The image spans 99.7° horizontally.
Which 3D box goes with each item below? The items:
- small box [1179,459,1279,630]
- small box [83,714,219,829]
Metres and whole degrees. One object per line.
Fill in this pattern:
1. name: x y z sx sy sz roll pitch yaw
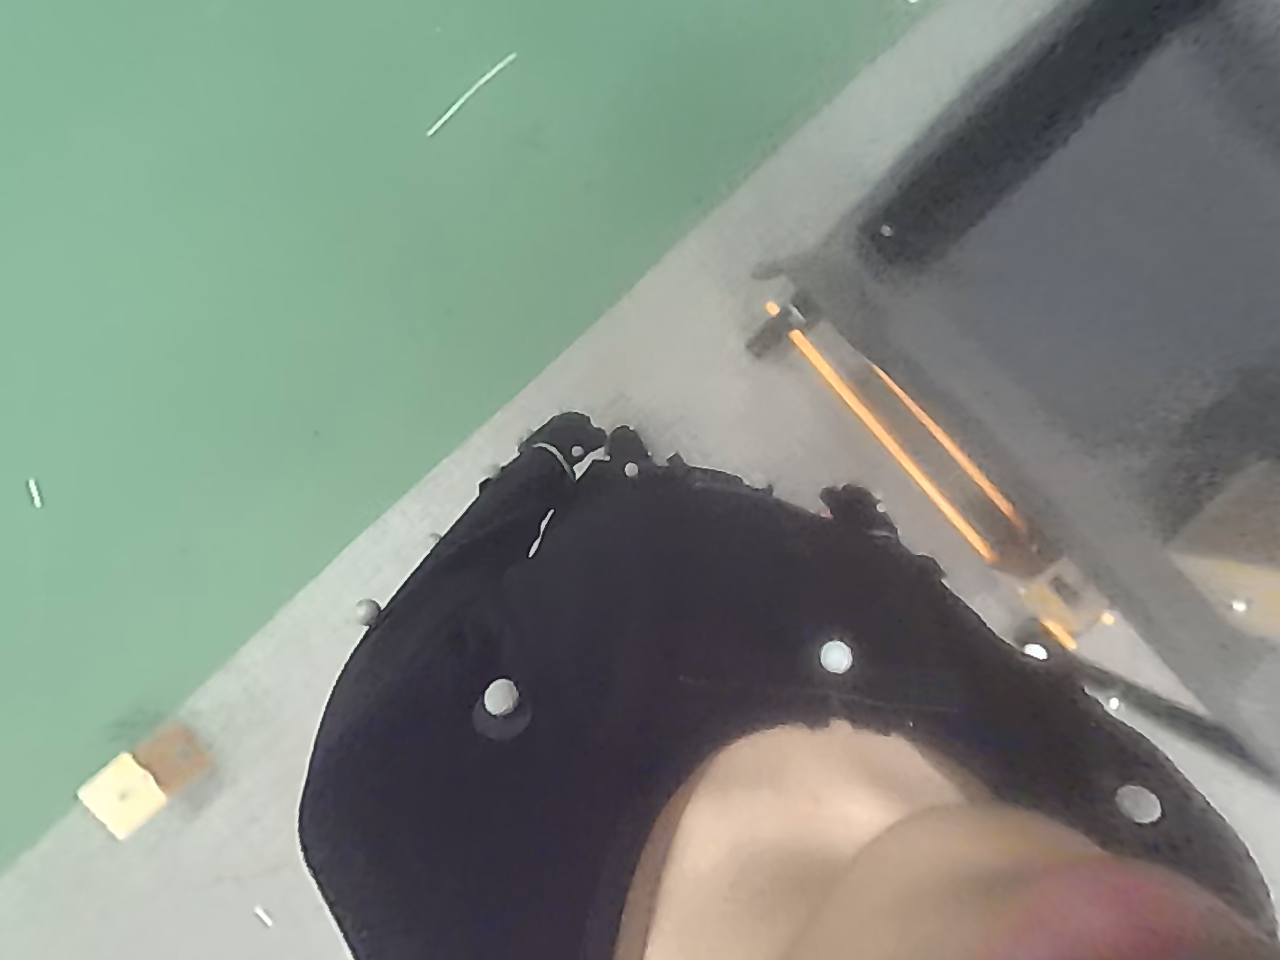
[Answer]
1. small box: 0.853 0.085 0.670 0.179 0.176 0.168 -45 92 2
2. small box: -1.304 0.776 1.457 0.179 0.176 0.168 -41 93 2
